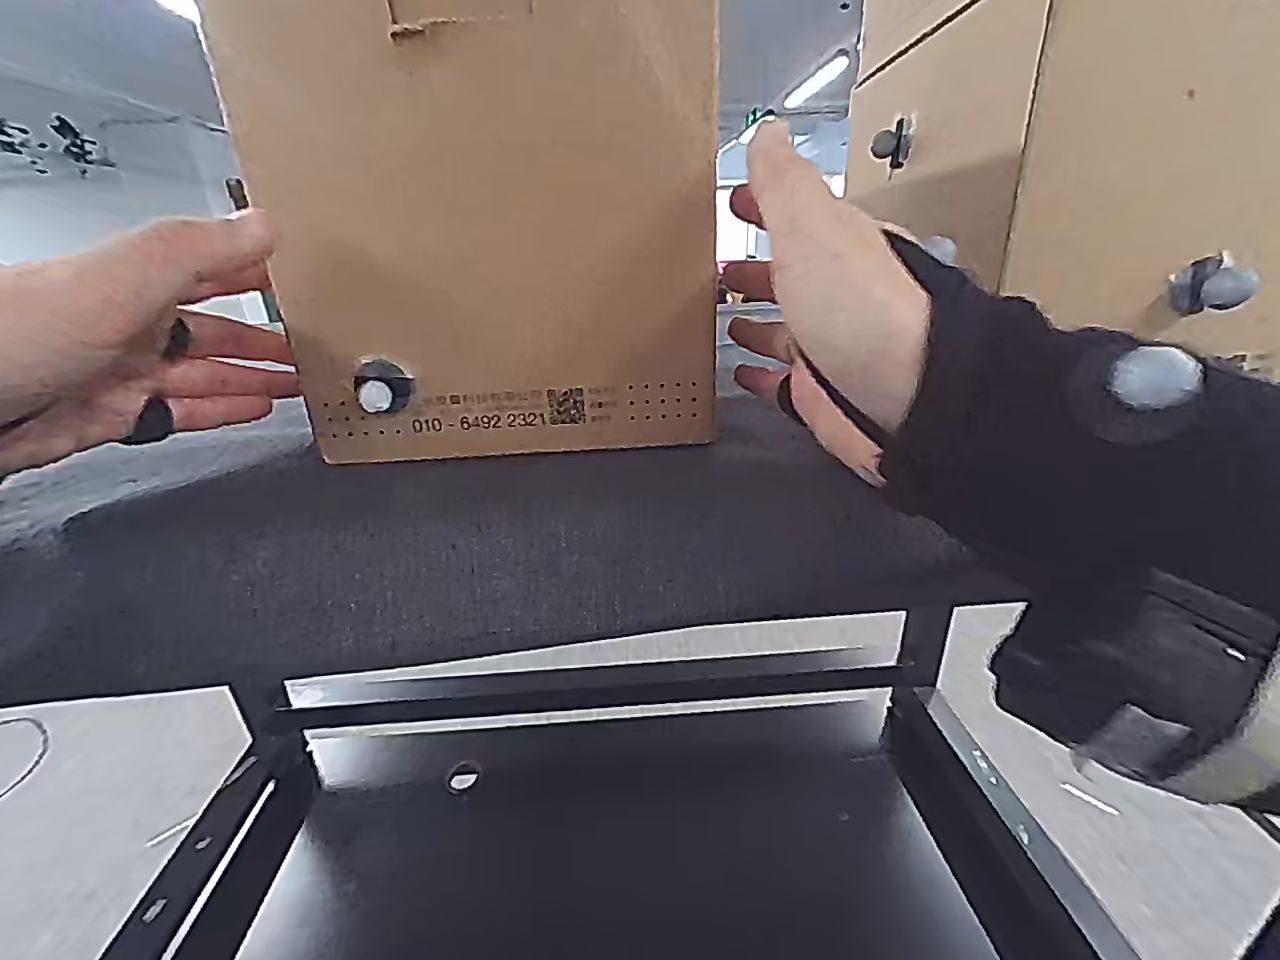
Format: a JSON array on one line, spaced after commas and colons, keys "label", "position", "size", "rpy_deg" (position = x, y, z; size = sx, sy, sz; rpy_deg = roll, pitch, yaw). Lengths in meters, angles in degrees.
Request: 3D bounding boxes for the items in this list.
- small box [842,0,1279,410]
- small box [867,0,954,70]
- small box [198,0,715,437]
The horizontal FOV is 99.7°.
[{"label": "small box", "position": [0.219, -0.139, 0.282], "size": [0.168, 0.176, 0.179], "rpy_deg": [-4, 23, 0]}, {"label": "small box", "position": [0.212, -0.290, 0.219], "size": [0.168, 0.176, 0.179], "rpy_deg": [-3, 23, 0]}, {"label": "small box", "position": [-0.056, -0.121, 0.272], "size": [0.168, 0.176, 0.179], "rpy_deg": [-3, 21, -2]}]
